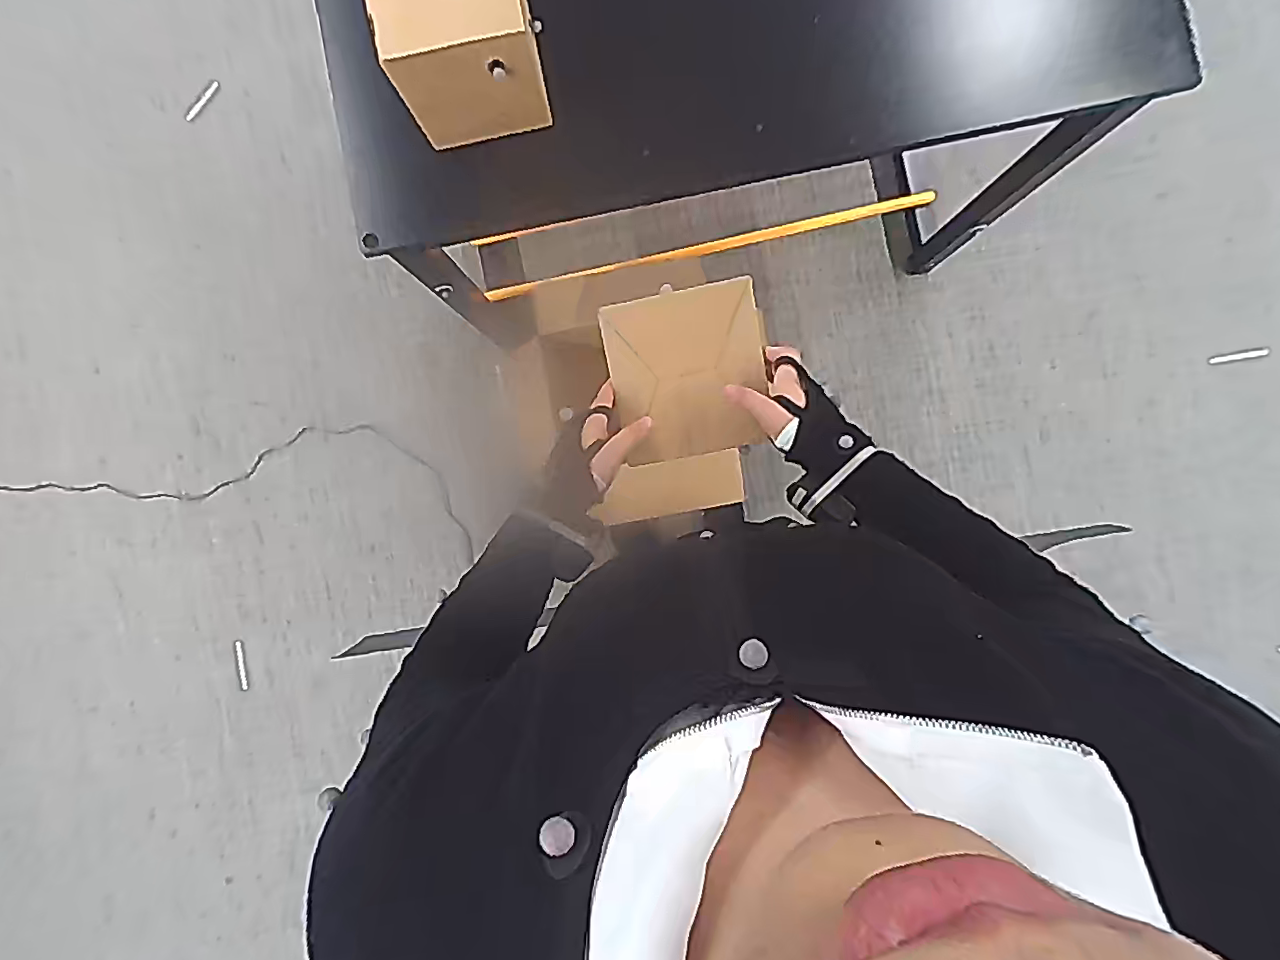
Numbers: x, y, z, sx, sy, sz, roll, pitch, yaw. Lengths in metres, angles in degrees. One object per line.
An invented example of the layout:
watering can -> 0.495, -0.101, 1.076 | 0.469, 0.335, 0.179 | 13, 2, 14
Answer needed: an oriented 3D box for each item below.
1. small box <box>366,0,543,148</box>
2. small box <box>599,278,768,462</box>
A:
small box -> -0.232, -0.574, 0.704 | 0.179, 0.176, 0.168 | -12, 89, 1
small box -> 0.054, -0.127, 0.659 | 0.168, 0.176, 0.179 | -11, 99, 6
